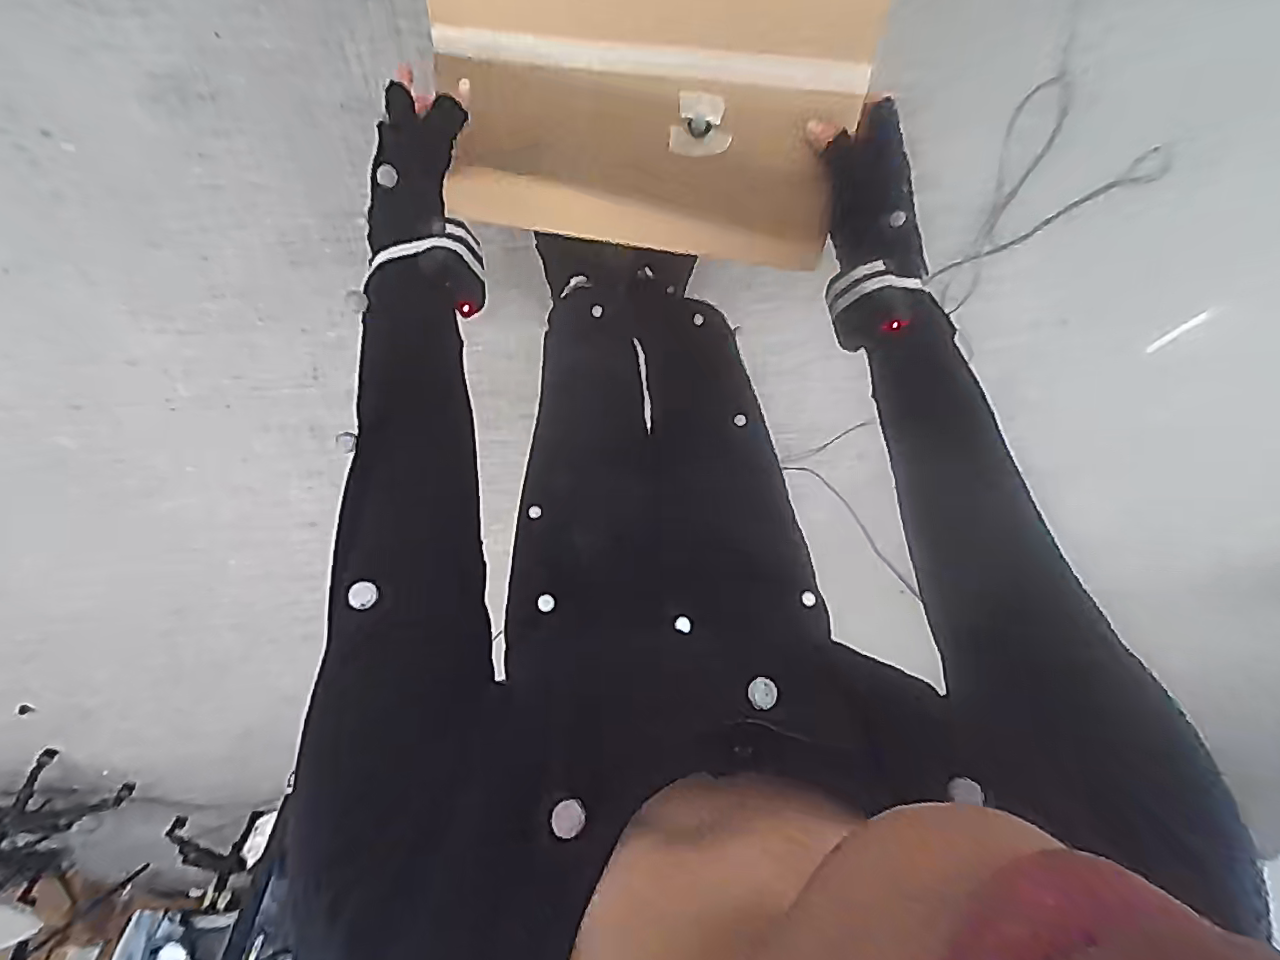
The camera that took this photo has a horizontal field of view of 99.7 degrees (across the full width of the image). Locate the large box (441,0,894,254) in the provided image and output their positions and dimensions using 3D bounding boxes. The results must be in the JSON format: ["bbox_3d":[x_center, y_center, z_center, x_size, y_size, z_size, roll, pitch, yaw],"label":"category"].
[{"bbox_3d":[0.040,-0.459,0.601,0.408,0.320,0.320,12,124,10],"label":"large box"}]
